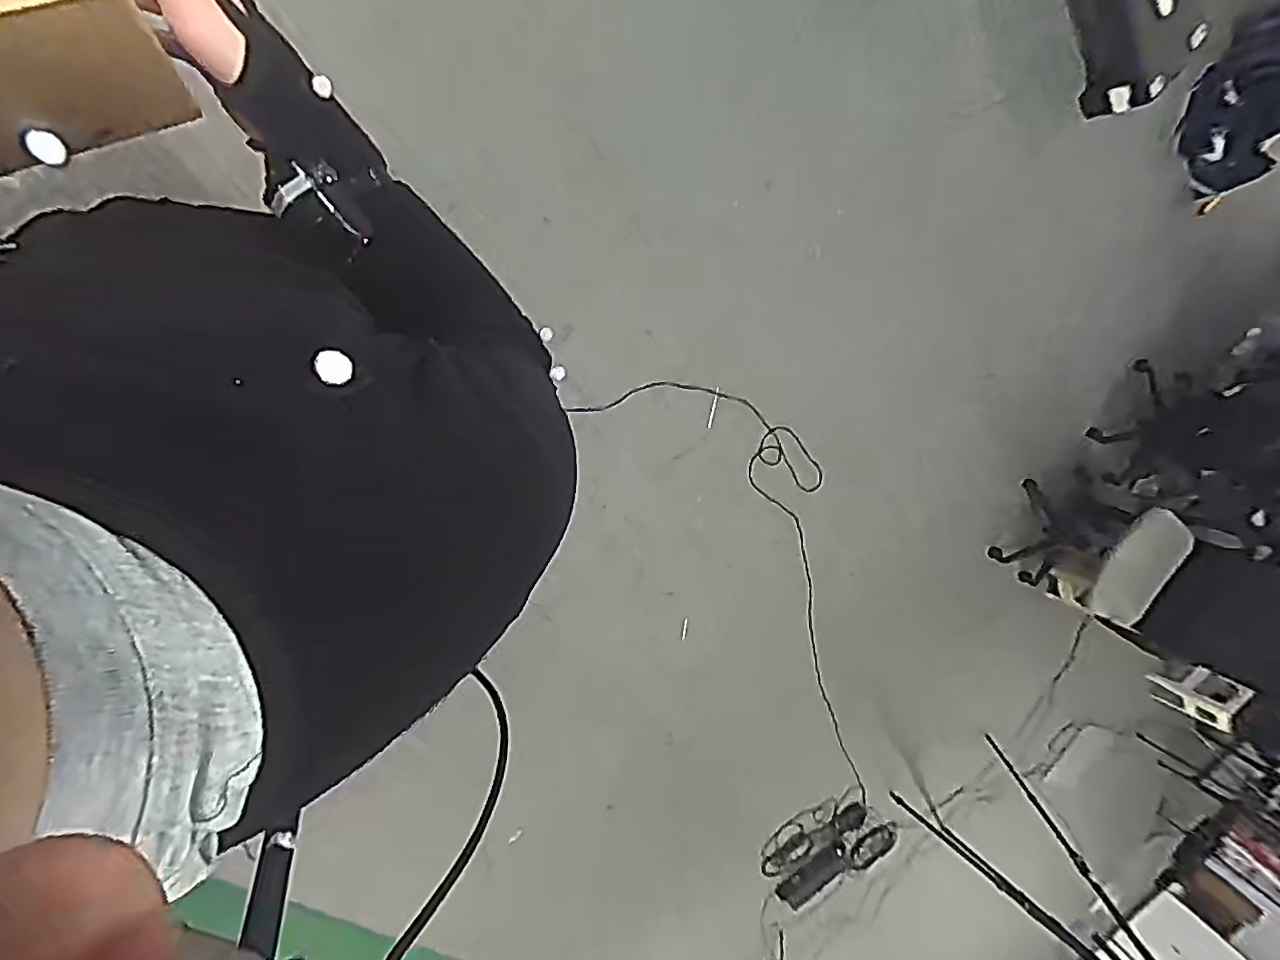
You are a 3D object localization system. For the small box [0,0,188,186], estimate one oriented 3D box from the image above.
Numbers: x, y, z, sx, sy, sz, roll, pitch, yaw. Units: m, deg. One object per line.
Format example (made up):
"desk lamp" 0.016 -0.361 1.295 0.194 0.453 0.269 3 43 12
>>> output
"small box" -0.386 -0.275 0.273 0.168 0.176 0.179 -31 115 -18
